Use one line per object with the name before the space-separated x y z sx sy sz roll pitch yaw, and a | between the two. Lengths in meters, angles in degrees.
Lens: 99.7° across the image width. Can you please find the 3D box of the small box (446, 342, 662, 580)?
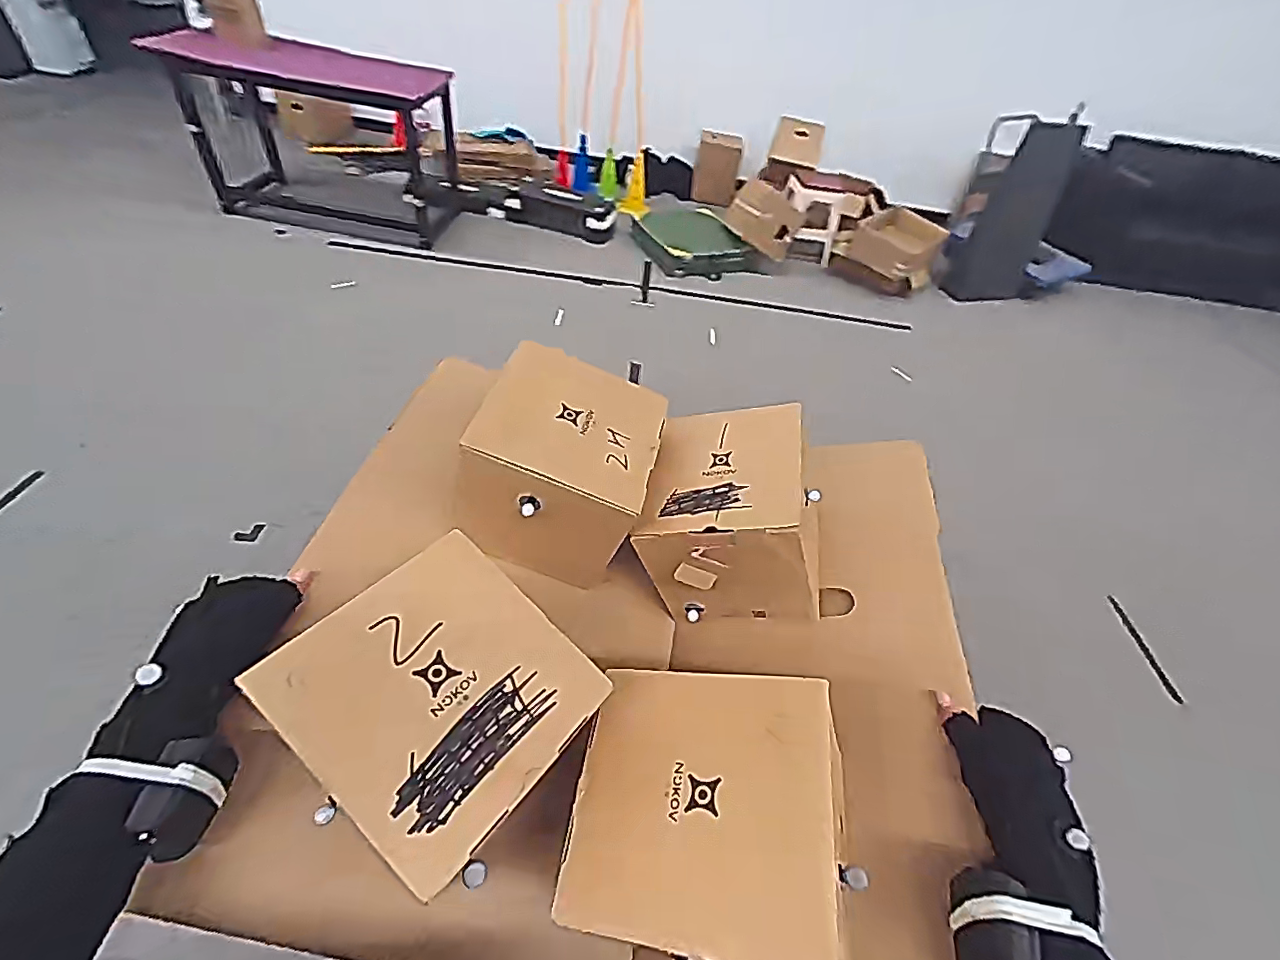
small box | -0.098 -0.013 0.597 0.179 0.176 0.168 22 50 -8
